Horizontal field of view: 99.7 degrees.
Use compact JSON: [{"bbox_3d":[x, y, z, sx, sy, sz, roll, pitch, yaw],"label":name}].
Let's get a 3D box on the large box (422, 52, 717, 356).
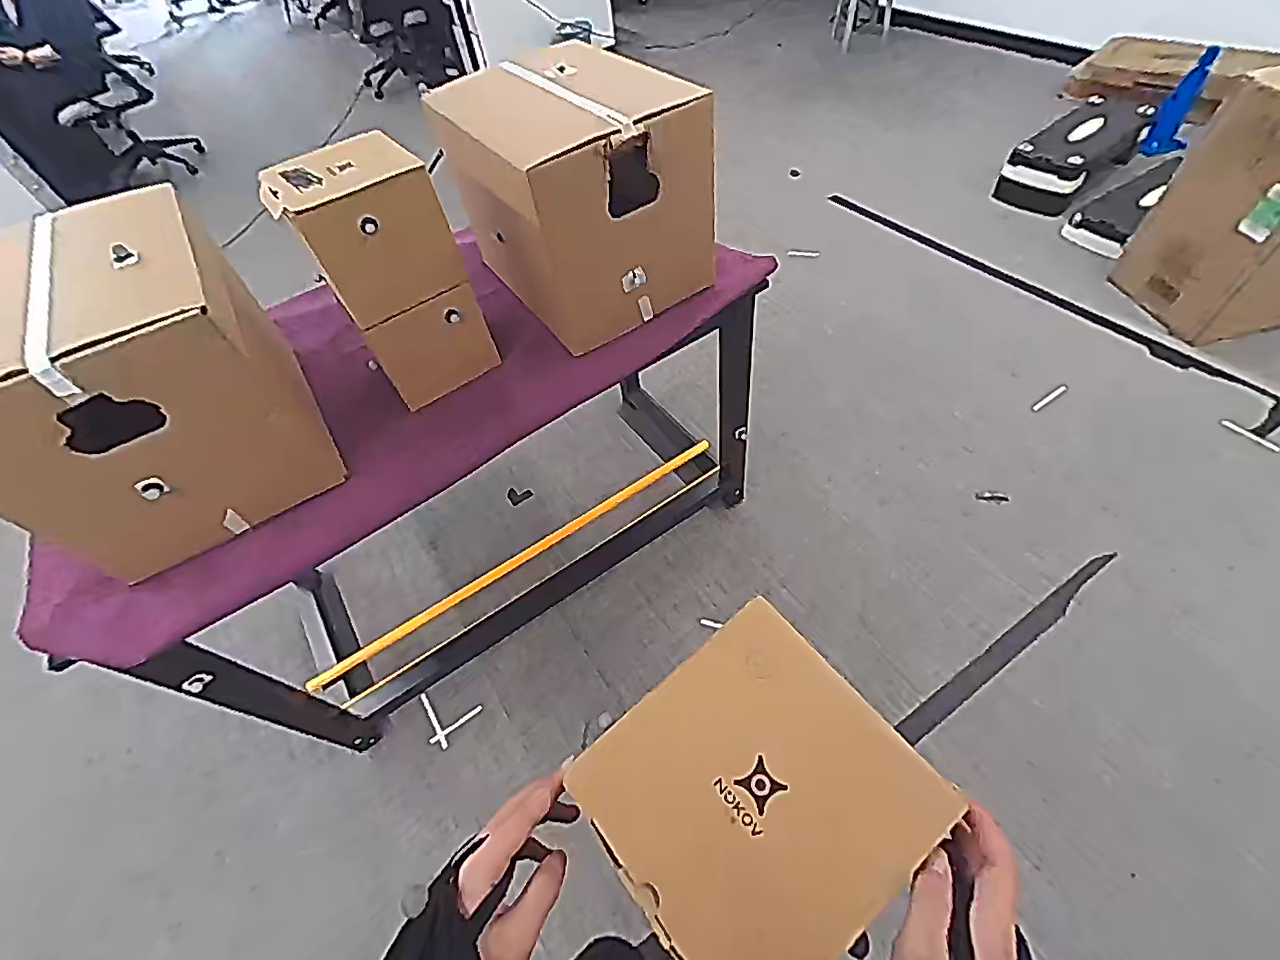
[{"bbox_3d":[-0.109,-0.488,0.949,0.320,0.320,0.408,-32,55,-16],"label":"large box"}]
